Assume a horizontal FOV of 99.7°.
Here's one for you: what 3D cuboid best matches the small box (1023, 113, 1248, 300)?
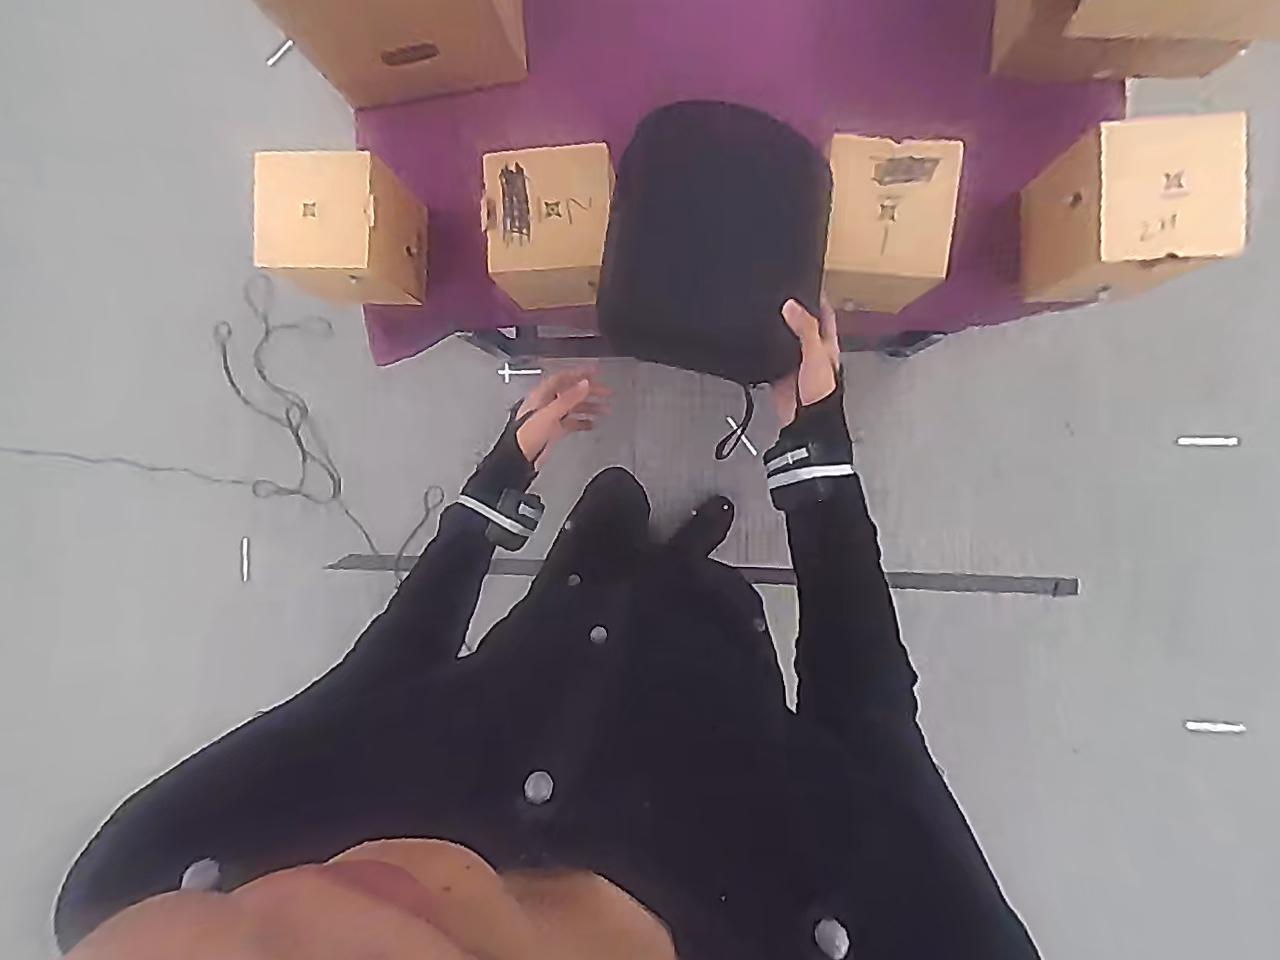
[{"bbox_3d":[0.661,-0.361,0.743,0.168,0.176,0.179,0,92,6],"label":"small box"}]

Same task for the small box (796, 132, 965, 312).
[{"bbox_3d":[0.330,-0.357,0.776,0.168,0.176,0.179,7,94,5],"label":"small box"}]

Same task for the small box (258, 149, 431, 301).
[{"bbox_3d":[-0.451,-0.386,0.844,0.179,0.176,0.168,2,92,4],"label":"small box"}]
